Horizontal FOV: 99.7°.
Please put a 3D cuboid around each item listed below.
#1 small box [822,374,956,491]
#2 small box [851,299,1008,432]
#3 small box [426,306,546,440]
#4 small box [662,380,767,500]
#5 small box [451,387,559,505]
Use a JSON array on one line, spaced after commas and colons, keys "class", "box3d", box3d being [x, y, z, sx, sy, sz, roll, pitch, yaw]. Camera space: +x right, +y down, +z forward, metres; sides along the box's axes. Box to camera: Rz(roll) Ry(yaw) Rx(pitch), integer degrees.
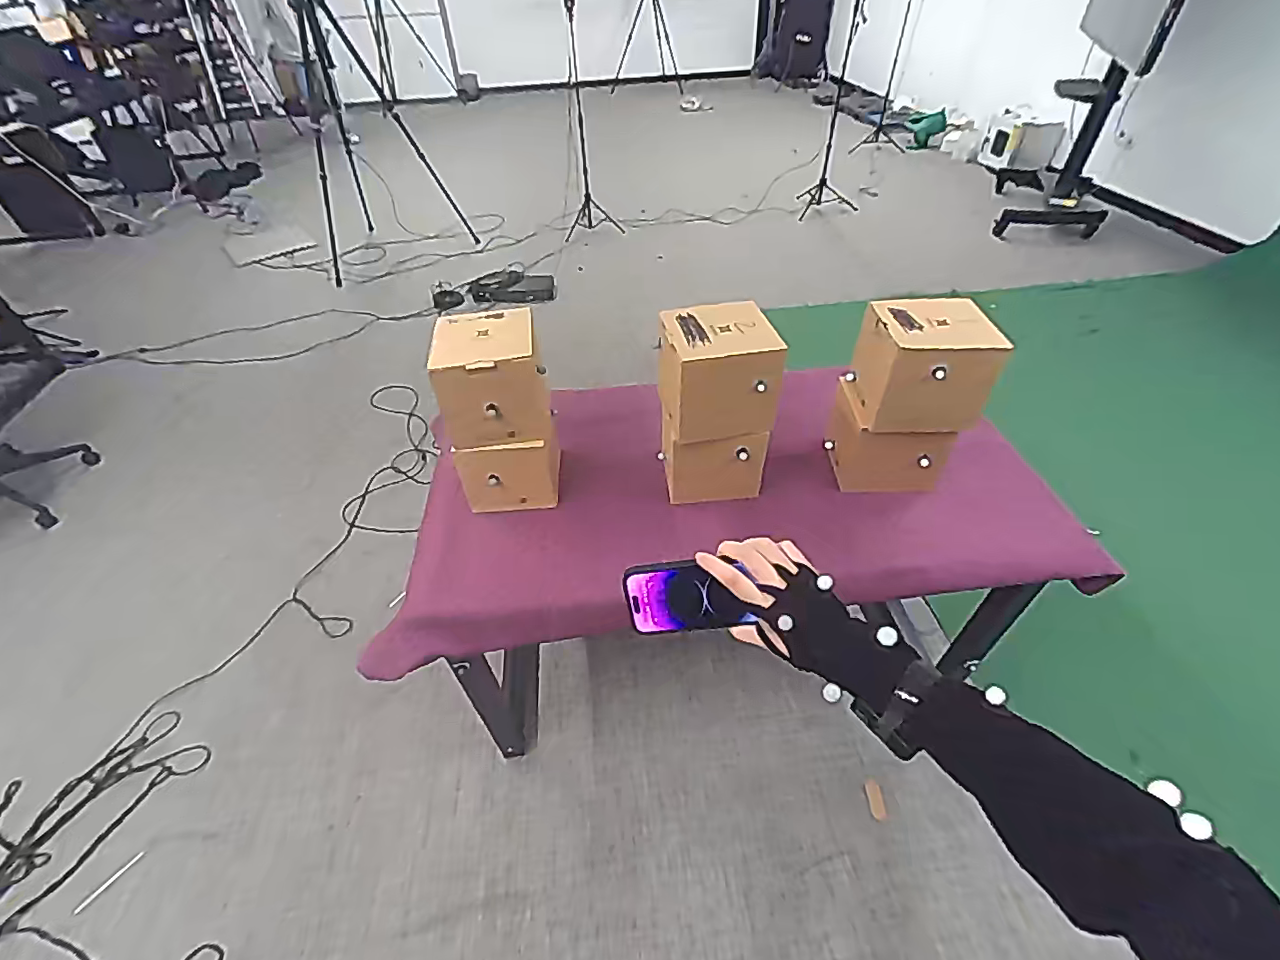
[{"class": "small box", "box3d": [0.476, -0.091, 1.062, 0.179, 0.176, 0.168, 0, 44, 3]}, {"class": "small box", "box3d": [0.480, -0.196, 0.936, 0.179, 0.176, 0.168, 0, 45, 2]}, {"class": "small box", "box3d": [-0.261, -0.184, 0.958, 0.168, 0.176, 0.179, -7, 46, -5]}, {"class": "small box", "box3d": [0.136, -0.076, 1.062, 0.179, 0.176, 0.168, -4, 45, -1]}, {"class": "small box", "box3d": [-0.255, -0.062, 1.068, 0.168, 0.176, 0.179, -4, 45, -1]}]
